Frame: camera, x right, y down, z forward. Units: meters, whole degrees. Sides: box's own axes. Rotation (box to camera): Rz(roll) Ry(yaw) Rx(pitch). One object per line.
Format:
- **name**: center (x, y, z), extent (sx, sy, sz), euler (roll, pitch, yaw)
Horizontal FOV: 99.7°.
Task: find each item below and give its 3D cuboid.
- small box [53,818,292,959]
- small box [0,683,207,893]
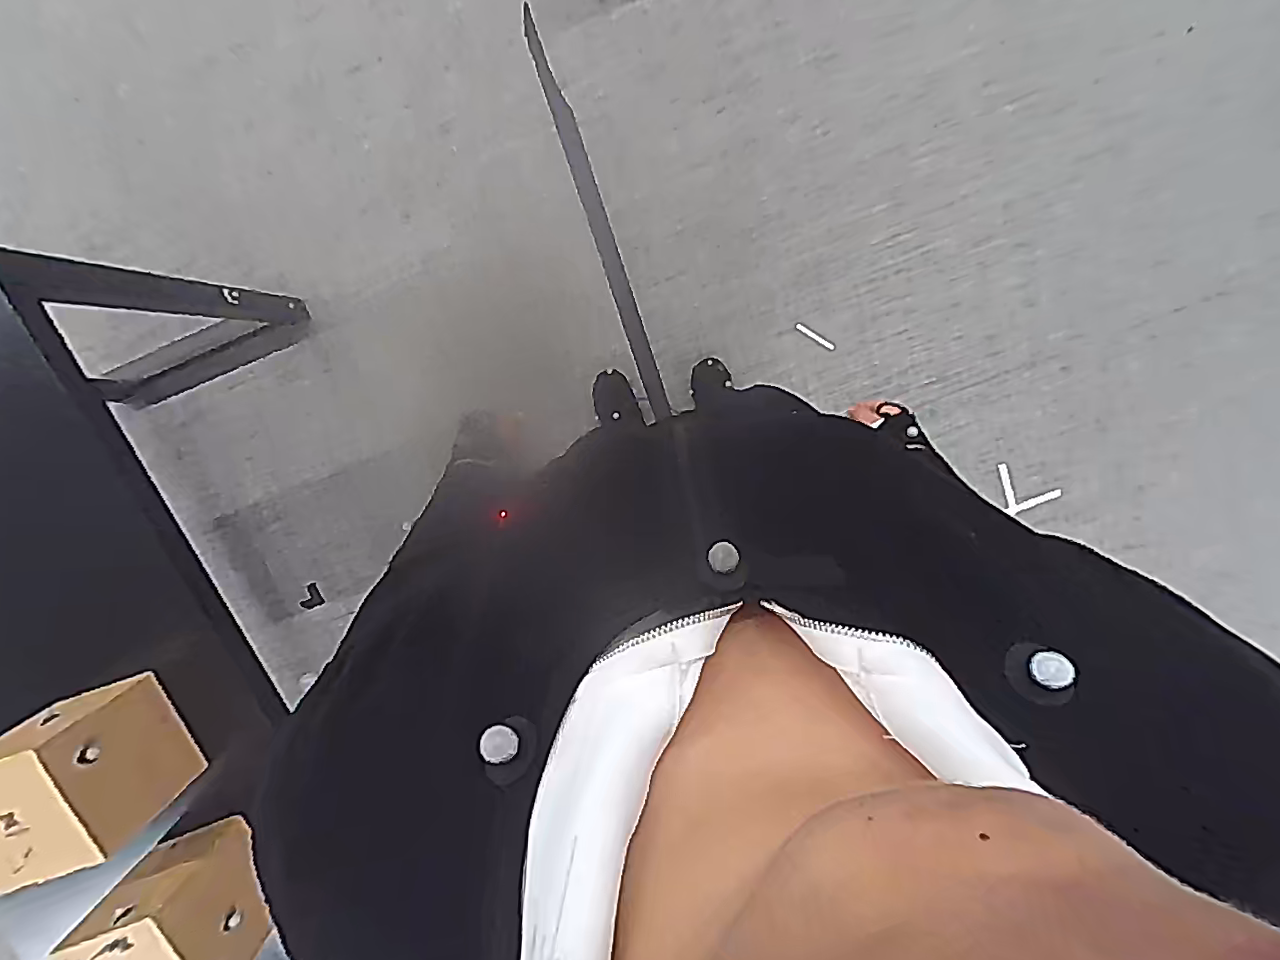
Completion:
- **small box**: center (-0.672, 0.657, 0.805), extent (0.168, 0.176, 0.179), euler (-22, 102, 4)
- **small box**: center (-0.768, 0.407, 0.747), extent (0.168, 0.176, 0.179), euler (-19, 103, 4)
